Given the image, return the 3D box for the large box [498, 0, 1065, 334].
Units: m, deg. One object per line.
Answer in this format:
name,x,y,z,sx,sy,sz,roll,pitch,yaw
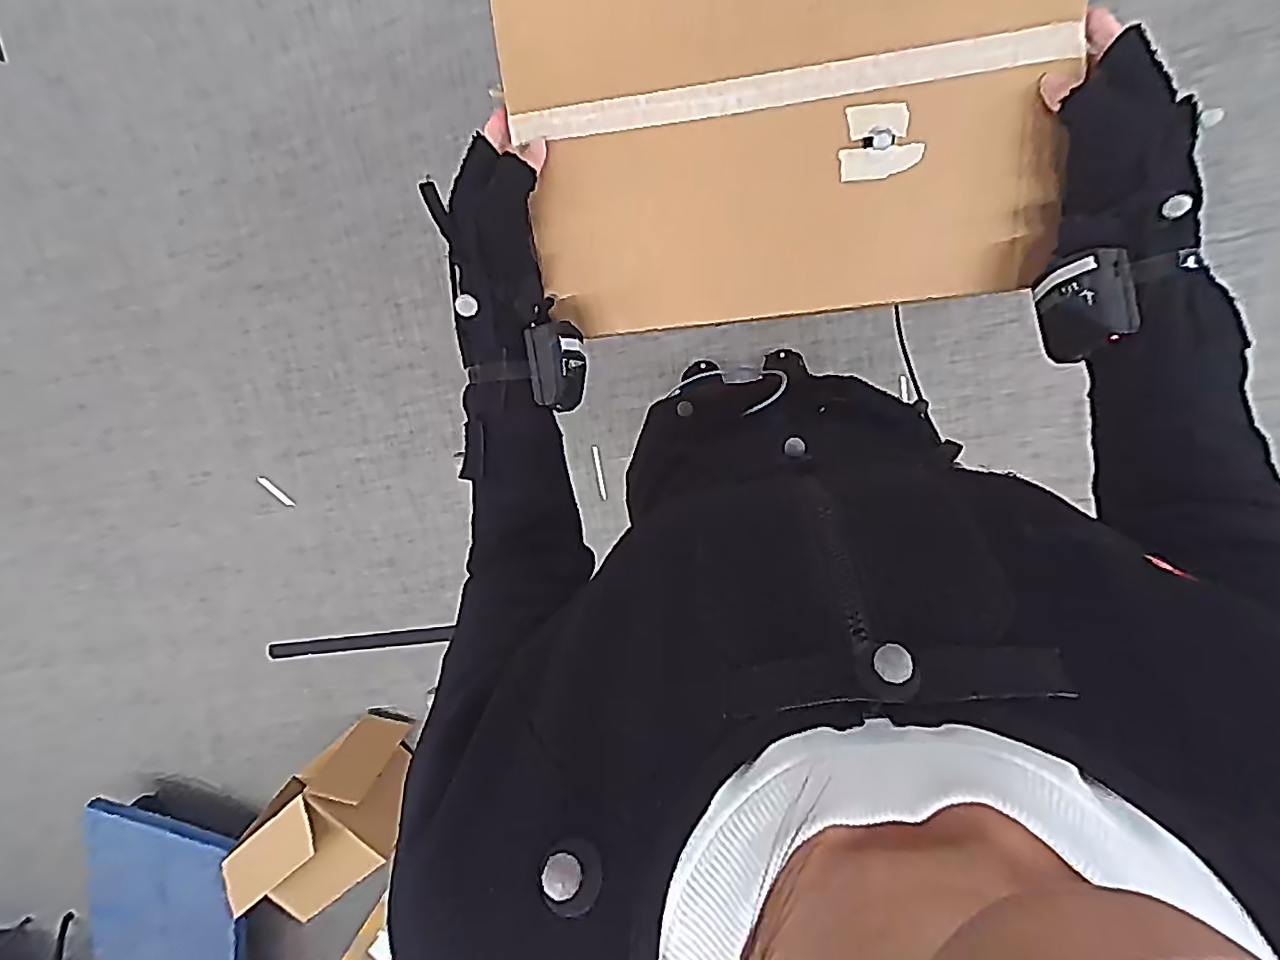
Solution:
large box,0.110,-0.332,0.546,0.408,0.320,0.320,-6,106,5
